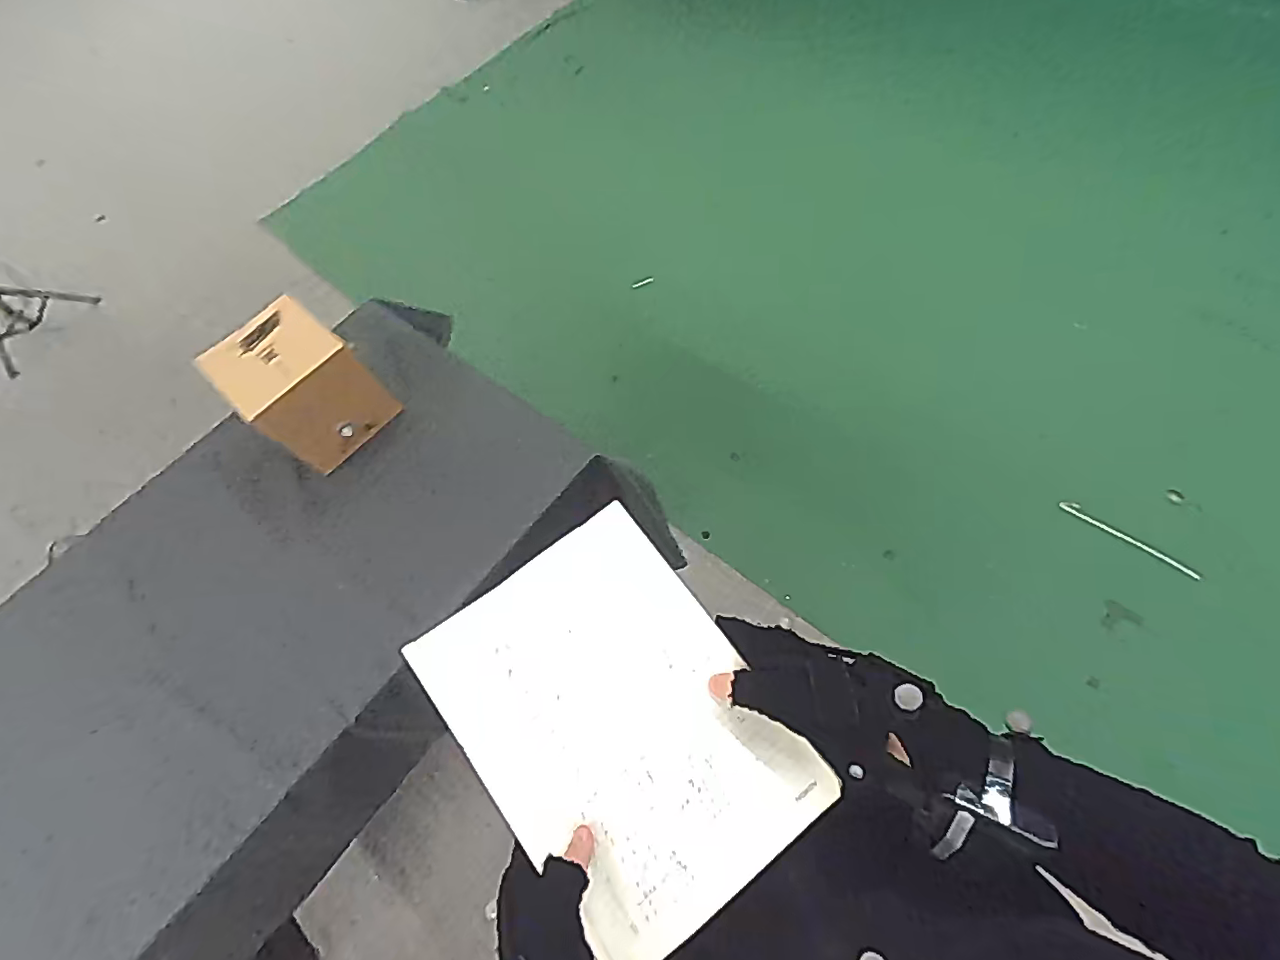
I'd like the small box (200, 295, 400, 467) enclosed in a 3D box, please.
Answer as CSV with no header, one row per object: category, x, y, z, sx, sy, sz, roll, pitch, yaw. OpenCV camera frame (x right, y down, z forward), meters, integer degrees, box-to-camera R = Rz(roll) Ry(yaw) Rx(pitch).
small box,-0.526,-0.150,0.857,0.179,0.176,0.168,38,75,22
